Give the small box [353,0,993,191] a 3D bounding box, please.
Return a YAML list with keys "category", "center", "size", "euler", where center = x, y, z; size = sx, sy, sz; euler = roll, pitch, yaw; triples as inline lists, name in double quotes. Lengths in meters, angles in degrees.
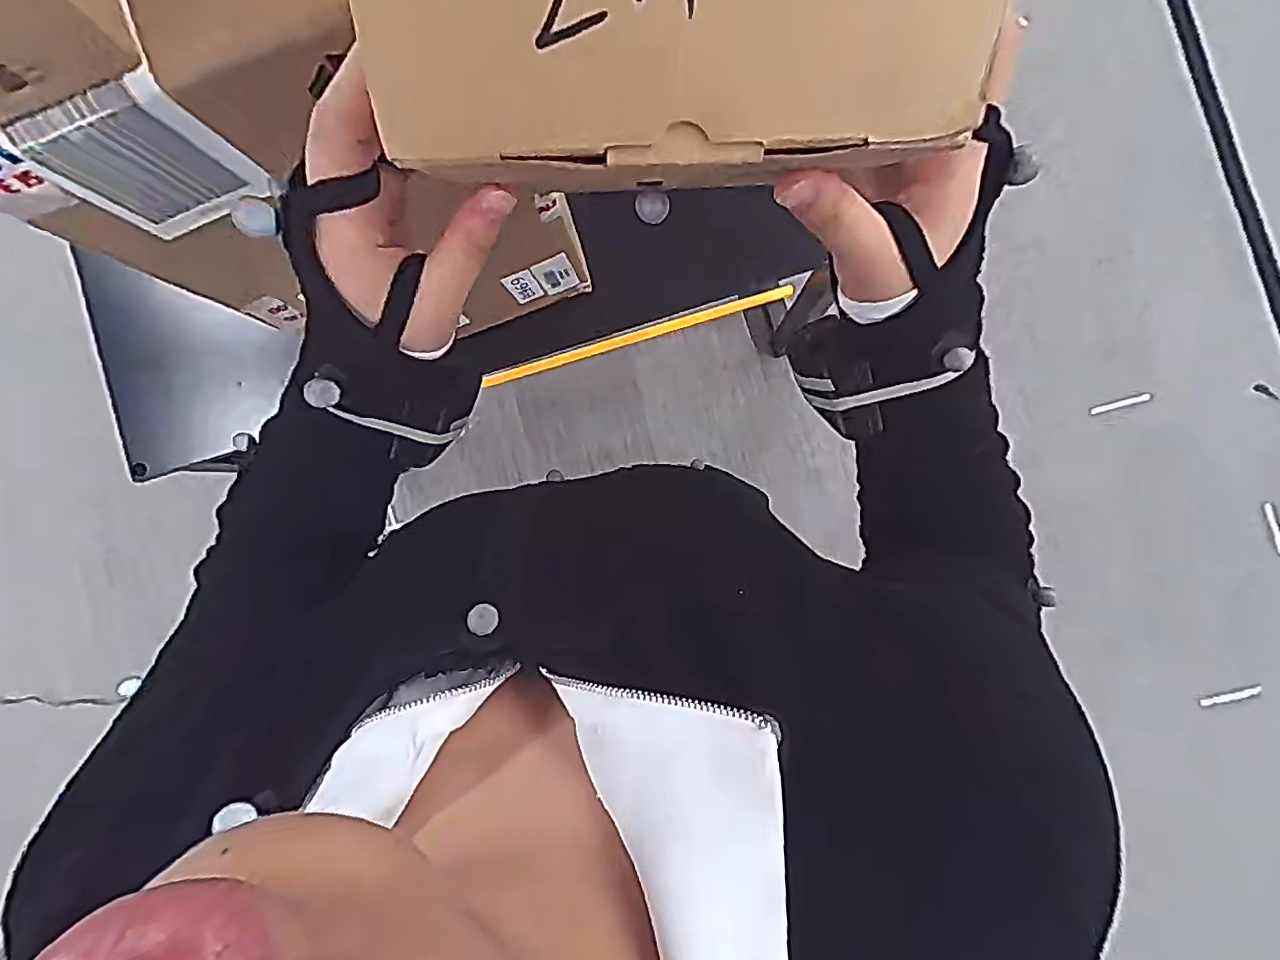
- category: "small box"
  center: [0.005, -0.205, 0.187]
  size: [0.168, 0.176, 0.179]
  euler: [-2, 116, -2]
